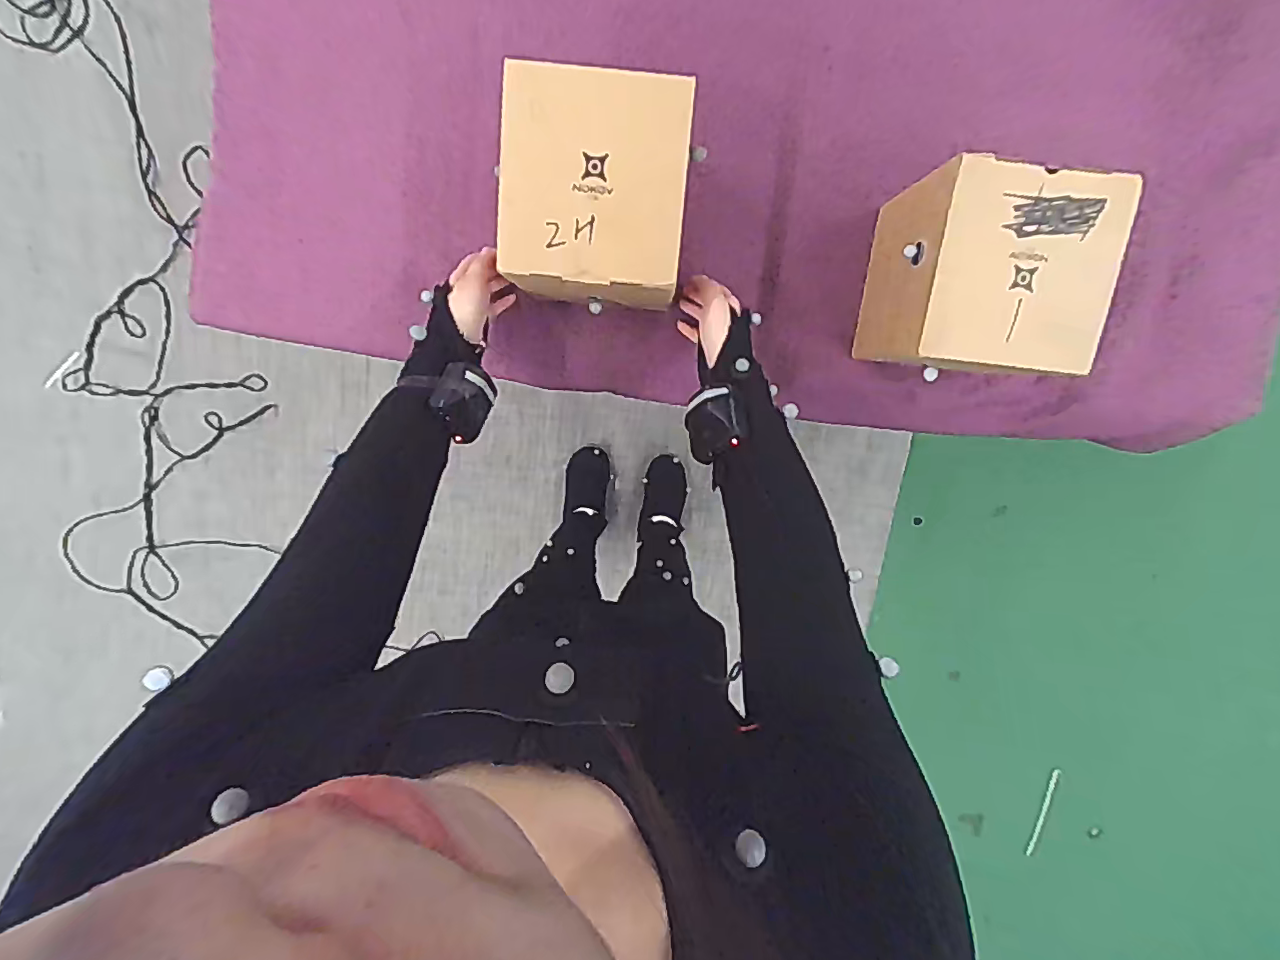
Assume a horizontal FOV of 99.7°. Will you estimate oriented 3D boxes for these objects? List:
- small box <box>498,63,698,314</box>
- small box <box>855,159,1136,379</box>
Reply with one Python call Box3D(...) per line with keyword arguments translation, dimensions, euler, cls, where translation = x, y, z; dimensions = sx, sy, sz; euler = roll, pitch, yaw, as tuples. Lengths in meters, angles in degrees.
Box3D(translation=(-0.040, -0.277, 0.555), dimensions=(0.168, 0.176, 0.179), euler=(5, 101, 0), cls="small box")
Box3D(translation=(0.349, -0.205, 0.571), dimensions=(0.168, 0.176, 0.179), euler=(7, 102, -1), cls="small box")
